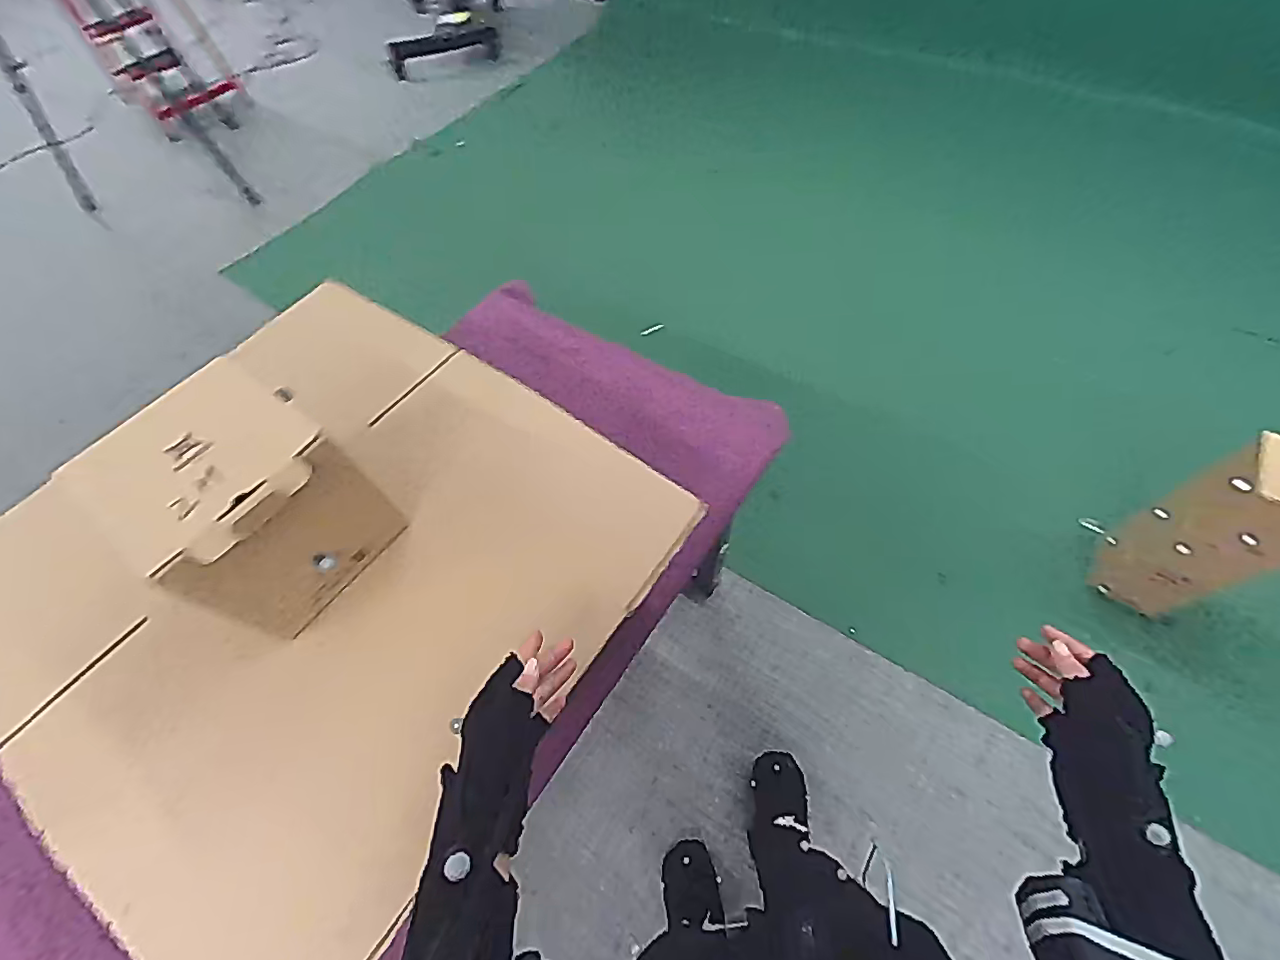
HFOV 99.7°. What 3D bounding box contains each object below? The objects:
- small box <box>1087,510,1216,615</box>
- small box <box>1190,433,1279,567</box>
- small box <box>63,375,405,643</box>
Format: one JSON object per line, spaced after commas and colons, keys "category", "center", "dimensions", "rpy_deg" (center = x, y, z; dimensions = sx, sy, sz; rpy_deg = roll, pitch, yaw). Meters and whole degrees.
{"category": "small box", "center": [1.290, 0.214, 1.374], "dimensions": [0.168, 0.176, 0.179], "rpy_deg": [30, 64, 19]}
{"category": "small box", "center": [1.277, 0.044, 1.095], "dimensions": [0.168, 0.176, 0.179], "rpy_deg": [27, 64, 18]}
{"category": "small box", "center": [-0.377, 0.035, 0.534], "dimensions": [0.179, 0.176, 0.168], "rpy_deg": [30, 66, 21]}
